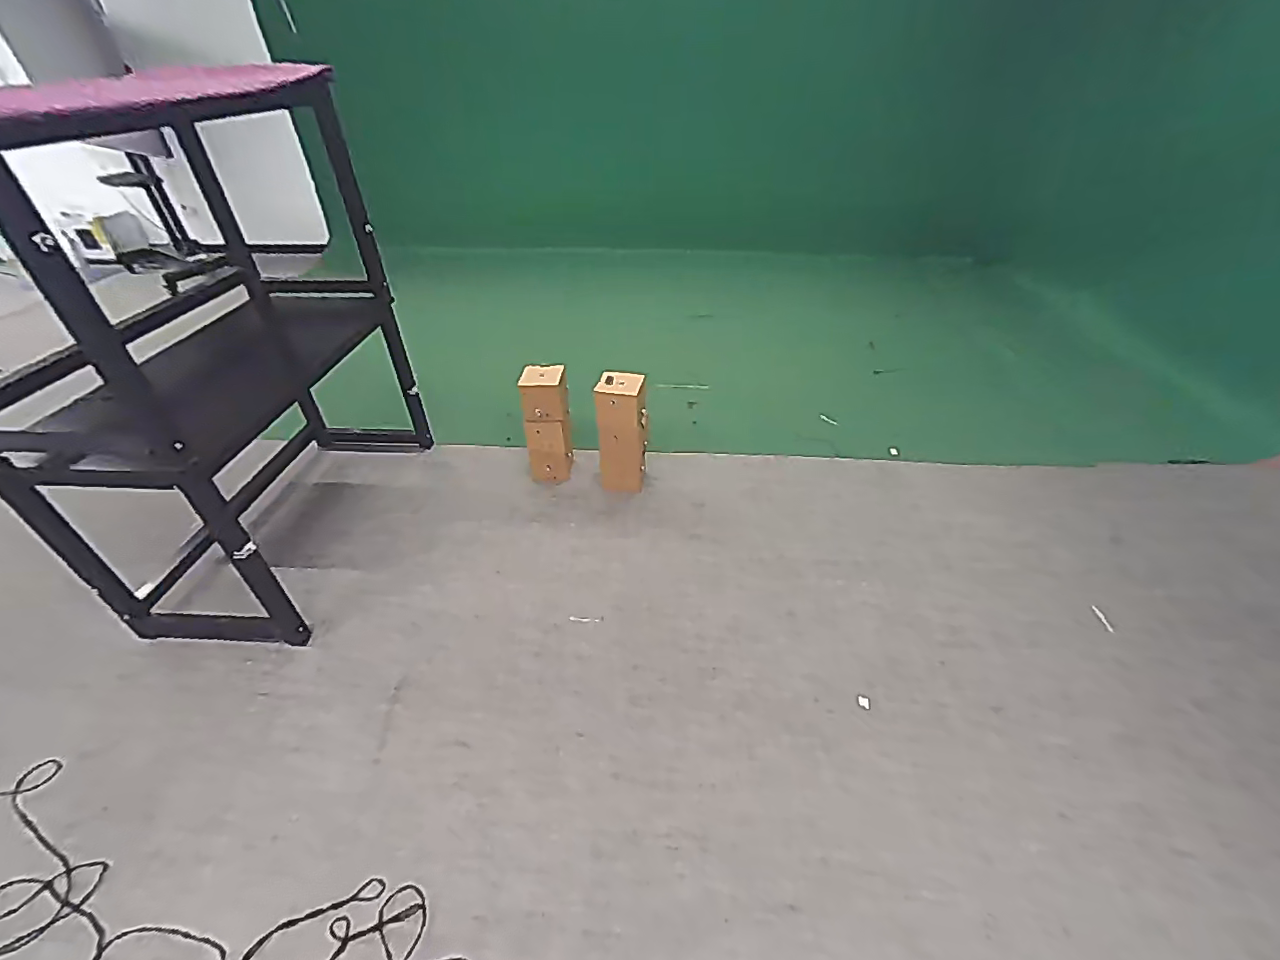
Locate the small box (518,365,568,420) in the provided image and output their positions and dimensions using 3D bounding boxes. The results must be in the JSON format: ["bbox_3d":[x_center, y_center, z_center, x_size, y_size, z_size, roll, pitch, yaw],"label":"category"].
[{"bbox_3d":[-0.398,-0.364,2.246,0.168,0.176,0.179,-1,39,3],"label":"small box"}]

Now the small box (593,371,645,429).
[{"bbox_3d":[-0.080,-0.322,2.180,0.179,0.176,0.168,7,40,10],"label":"small box"}]

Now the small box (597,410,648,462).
[{"bbox_3d":[-0.070,-0.195,2.283,0.179,0.176,0.168,9,41,12],"label":"small box"}]

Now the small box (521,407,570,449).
[{"bbox_3d":[-0.406,-0.246,2.360,0.168,0.176,0.179,1,38,4],"label":"small box"}]
